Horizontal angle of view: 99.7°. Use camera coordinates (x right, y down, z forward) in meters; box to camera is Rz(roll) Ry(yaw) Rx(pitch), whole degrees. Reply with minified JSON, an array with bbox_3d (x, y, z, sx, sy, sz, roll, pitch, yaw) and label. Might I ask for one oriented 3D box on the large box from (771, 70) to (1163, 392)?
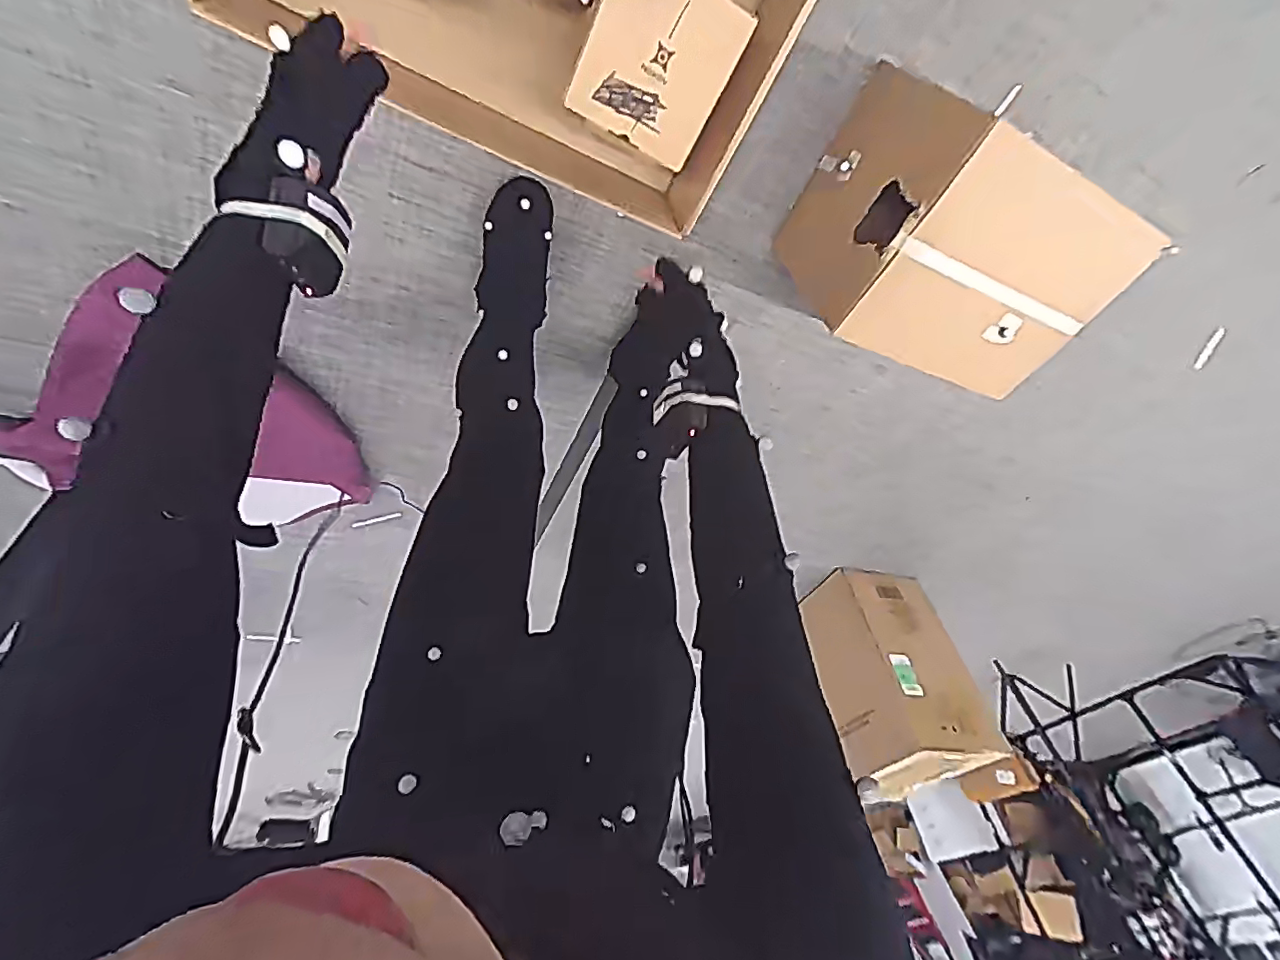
[{"bbox_3d":[0.502,-0.400,0.905,0.408,0.320,0.320,11,134,-24],"label":"large box"}]
